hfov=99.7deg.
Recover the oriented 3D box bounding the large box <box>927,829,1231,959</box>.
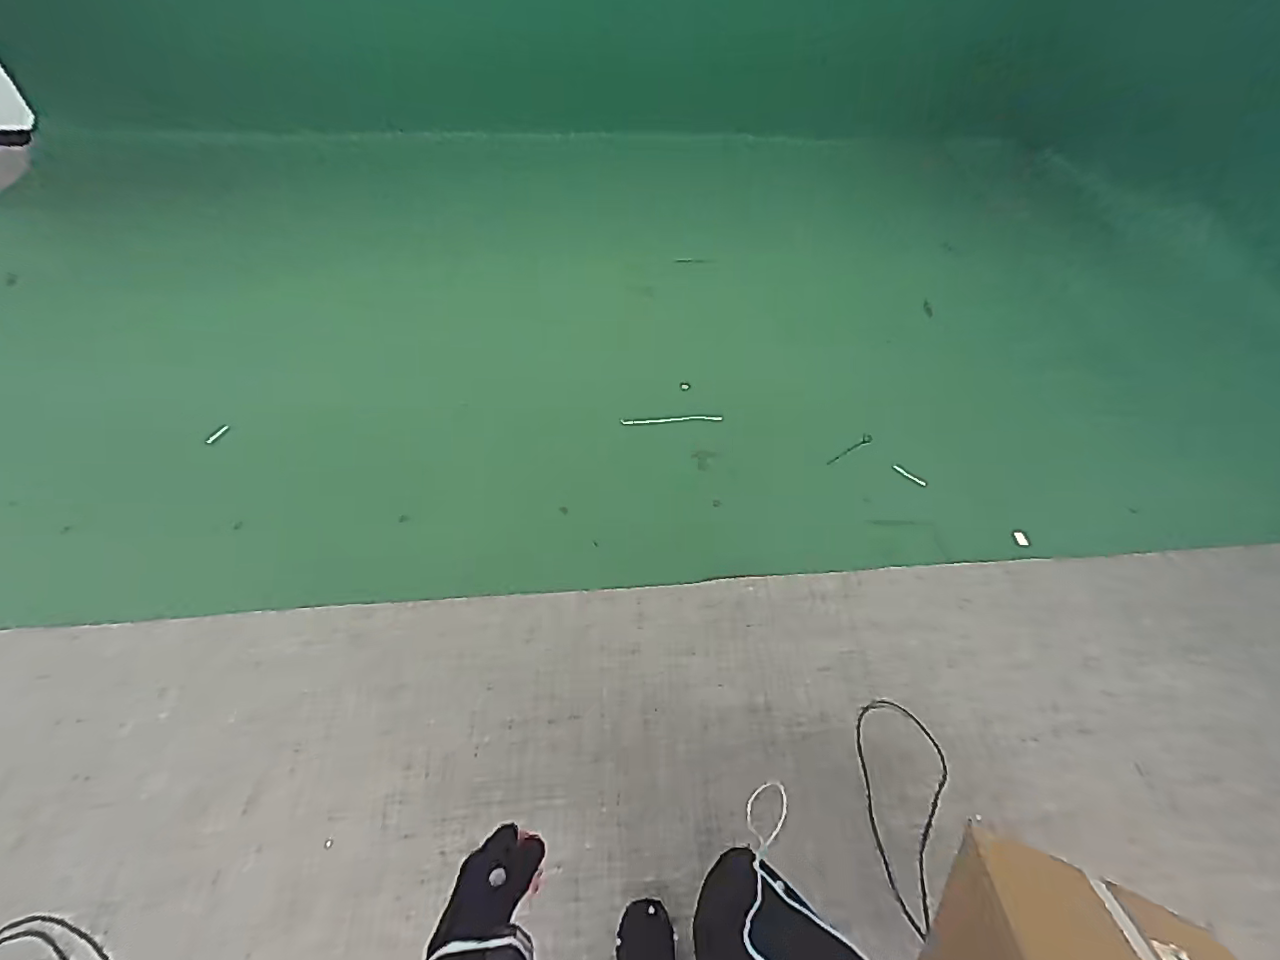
[{"bbox_3d":[0.539,0.719,0.610,0.320,0.408,0.320,20,94,20],"label":"large box"}]
